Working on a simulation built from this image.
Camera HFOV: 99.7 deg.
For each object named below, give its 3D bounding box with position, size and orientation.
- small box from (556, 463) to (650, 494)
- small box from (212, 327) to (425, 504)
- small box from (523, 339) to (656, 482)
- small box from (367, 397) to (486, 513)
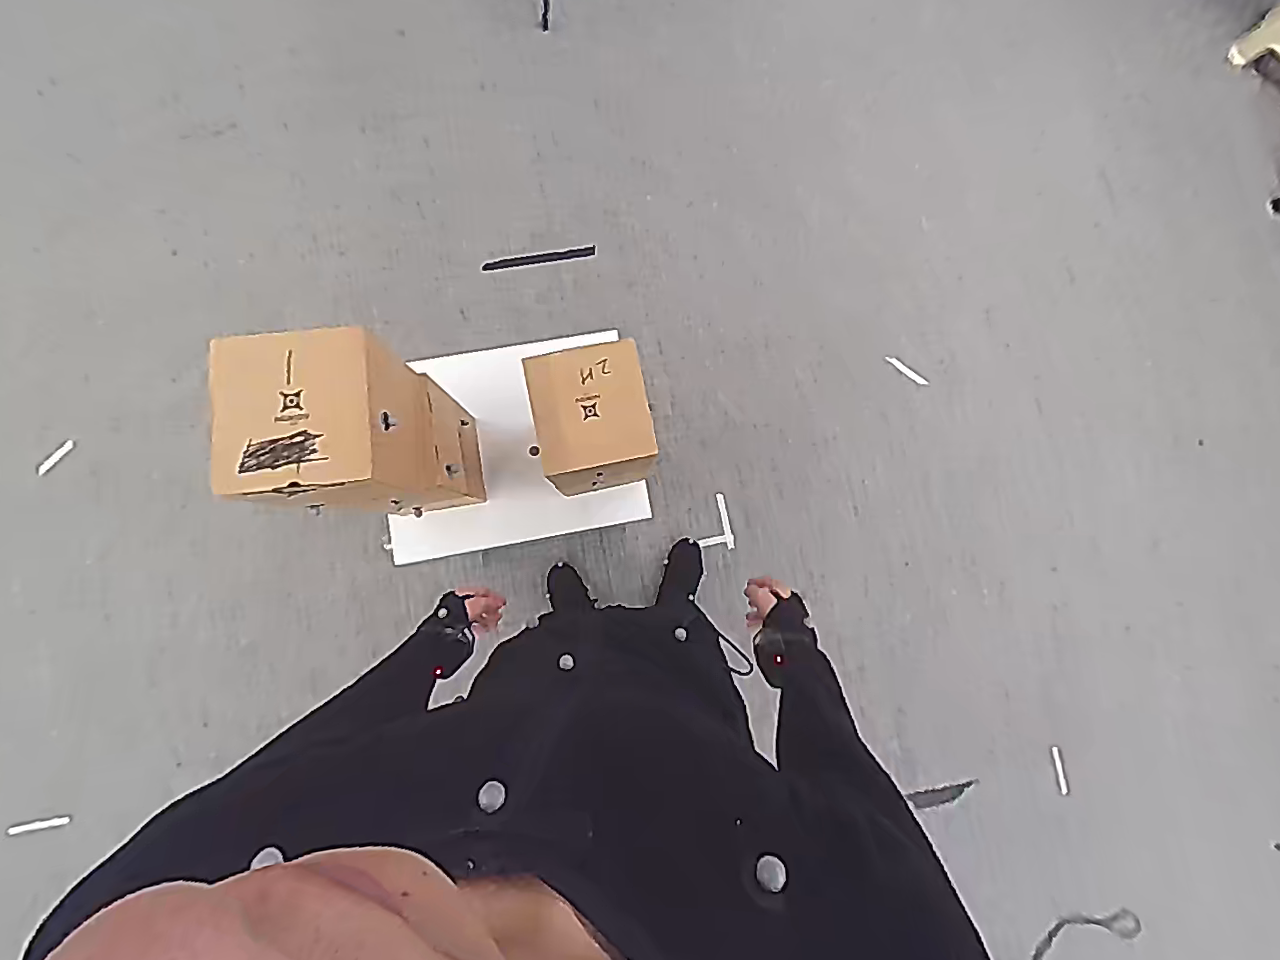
[{"bbox_3d":[-0.082,-0.079,1.005,0.168,0.176,0.179,-13,84,-3],"label":"small box"},{"bbox_3d":[-0.373,-0.065,0.656,0.168,0.176,0.179,-6,83,-4],"label":"small box"},{"bbox_3d":[-0.073,-0.096,0.841,0.168,0.176,0.179,-12,85,-4],"label":"small box"},{"bbox_3d":[-0.387,-0.037,0.983,0.168,0.176,0.179,-10,84,-5],"label":"small box"}]
